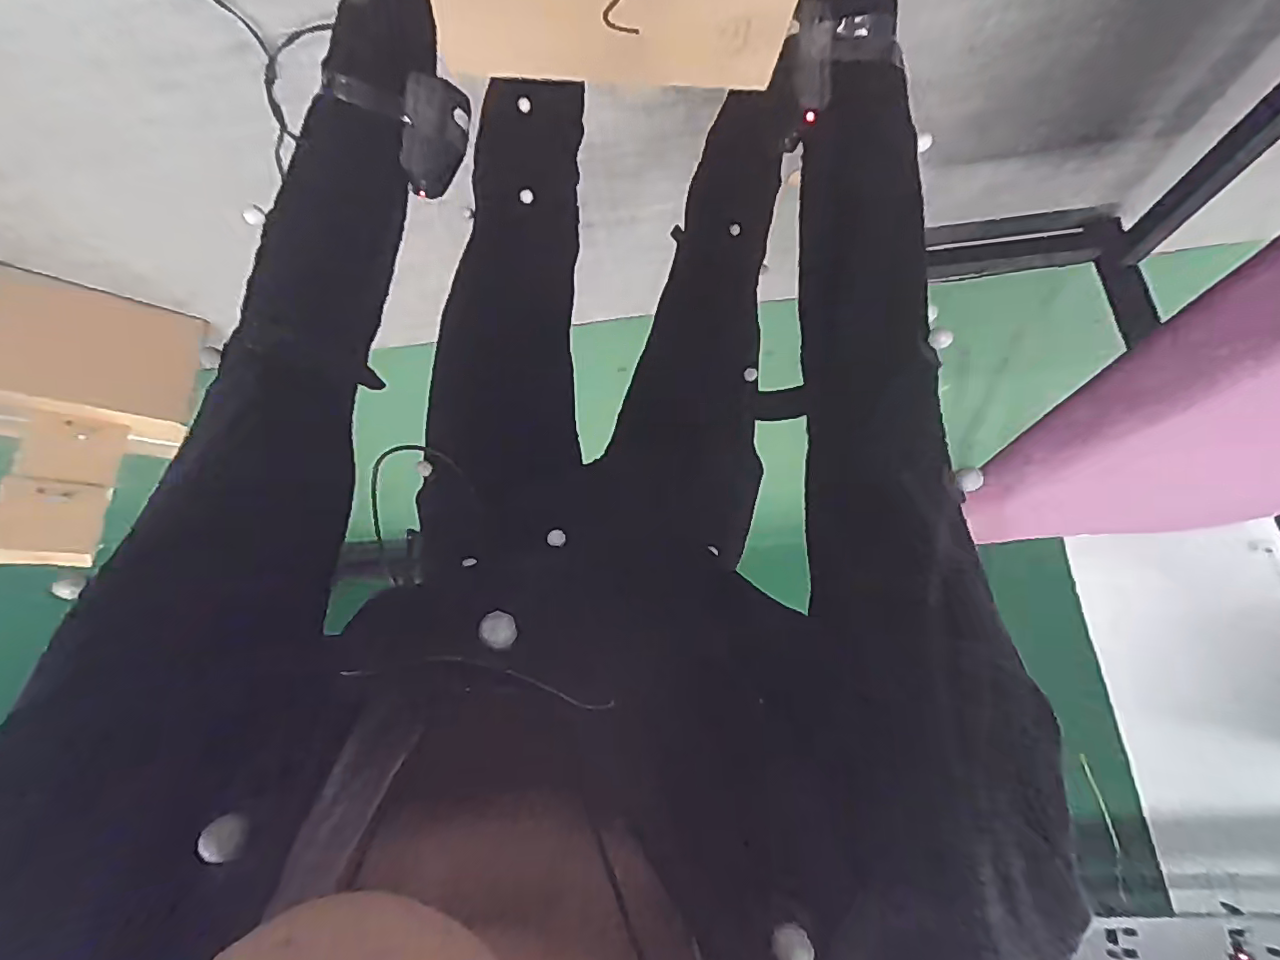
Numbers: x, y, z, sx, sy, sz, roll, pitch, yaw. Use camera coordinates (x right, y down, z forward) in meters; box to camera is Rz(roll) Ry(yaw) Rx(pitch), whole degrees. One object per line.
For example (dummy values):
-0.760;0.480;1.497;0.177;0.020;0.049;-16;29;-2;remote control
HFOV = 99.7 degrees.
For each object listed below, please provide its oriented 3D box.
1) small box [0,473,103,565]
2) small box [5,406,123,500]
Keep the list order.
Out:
-1.373;0.095;1.247;0.168;0.176;0.179;13;156;-42;small box
-1.383;-0.057;1.305;0.179;0.176;0.168;-20;156;40;small box
